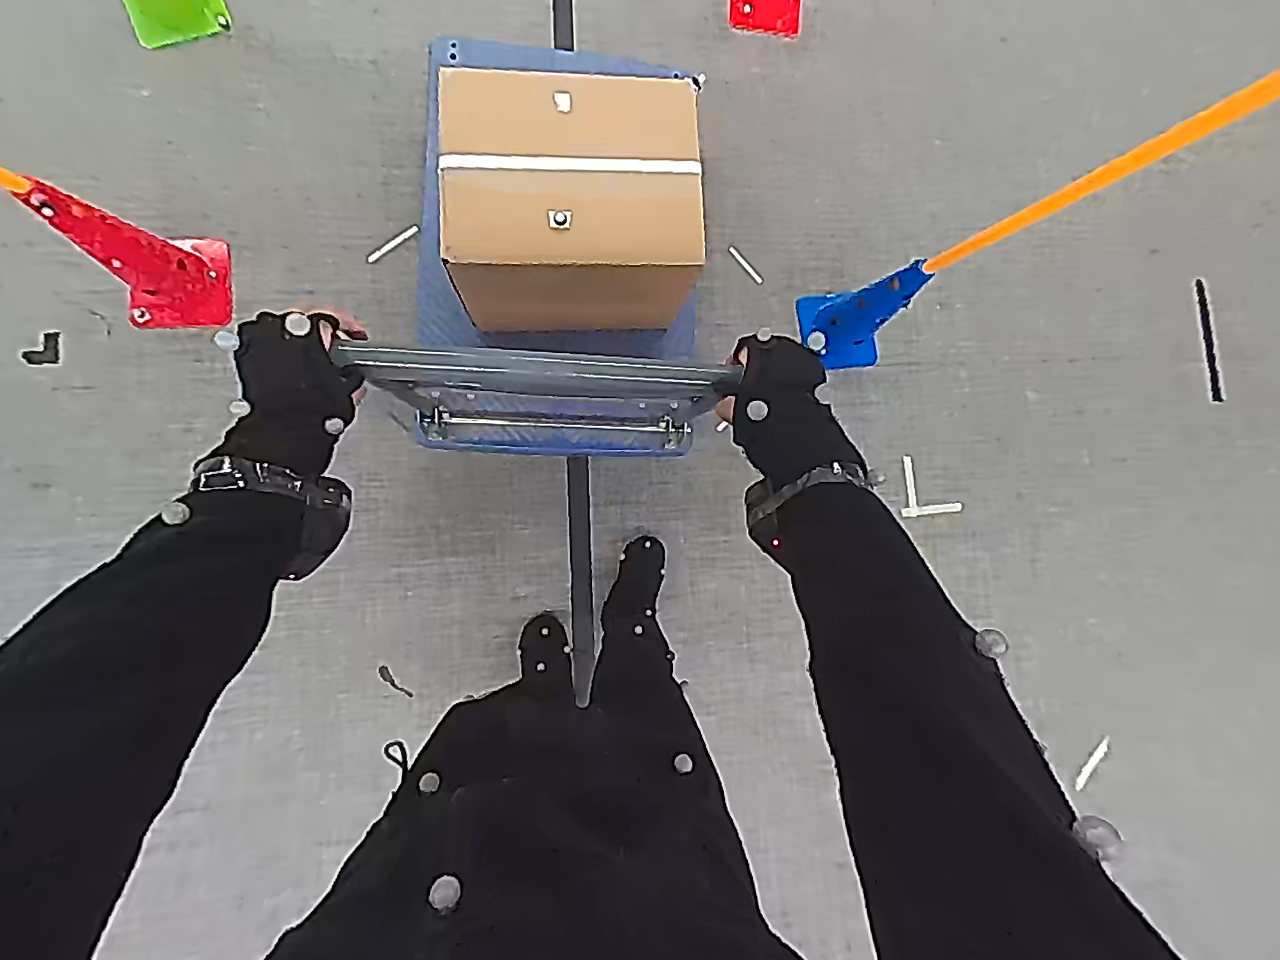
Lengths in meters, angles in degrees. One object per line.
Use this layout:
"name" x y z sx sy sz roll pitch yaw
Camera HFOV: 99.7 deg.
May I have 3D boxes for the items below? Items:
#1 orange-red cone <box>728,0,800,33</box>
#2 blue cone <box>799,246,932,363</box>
"orange-red cone" 0.360 -1.308 1.271 0.199 0.360 0.198 4 86 -9
"blue cone" 0.535 -0.414 1.241 0.193 0.380 0.192 -7 85 -9
